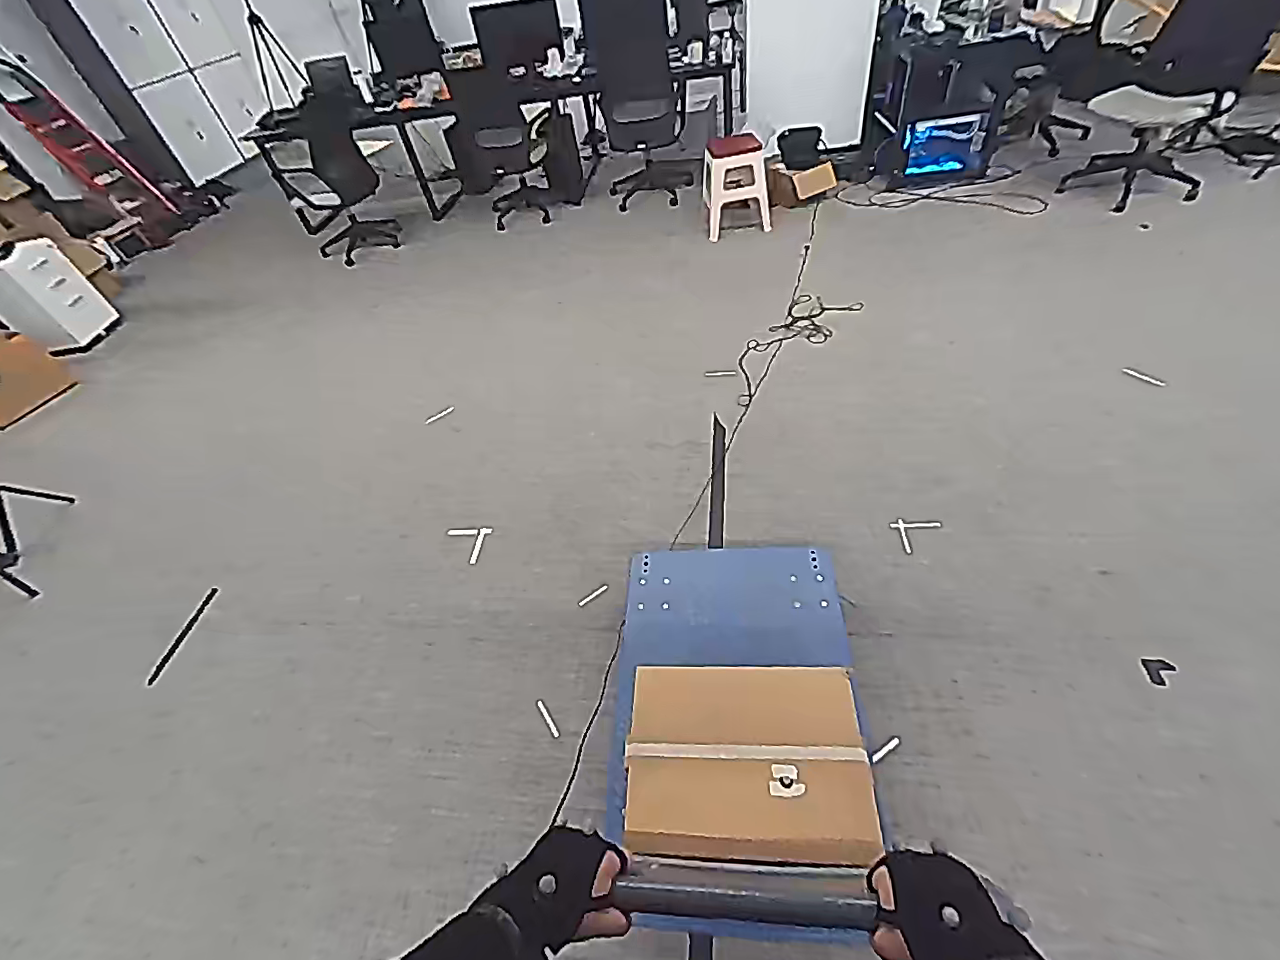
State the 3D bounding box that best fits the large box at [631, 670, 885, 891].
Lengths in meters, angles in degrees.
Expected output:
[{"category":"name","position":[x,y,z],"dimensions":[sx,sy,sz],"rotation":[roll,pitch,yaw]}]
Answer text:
[{"category":"large box","position":[0.205,0.587,1.057],"dimensions":[0.408,0.320,0.320],"rotation":[-3,47,8]}]
